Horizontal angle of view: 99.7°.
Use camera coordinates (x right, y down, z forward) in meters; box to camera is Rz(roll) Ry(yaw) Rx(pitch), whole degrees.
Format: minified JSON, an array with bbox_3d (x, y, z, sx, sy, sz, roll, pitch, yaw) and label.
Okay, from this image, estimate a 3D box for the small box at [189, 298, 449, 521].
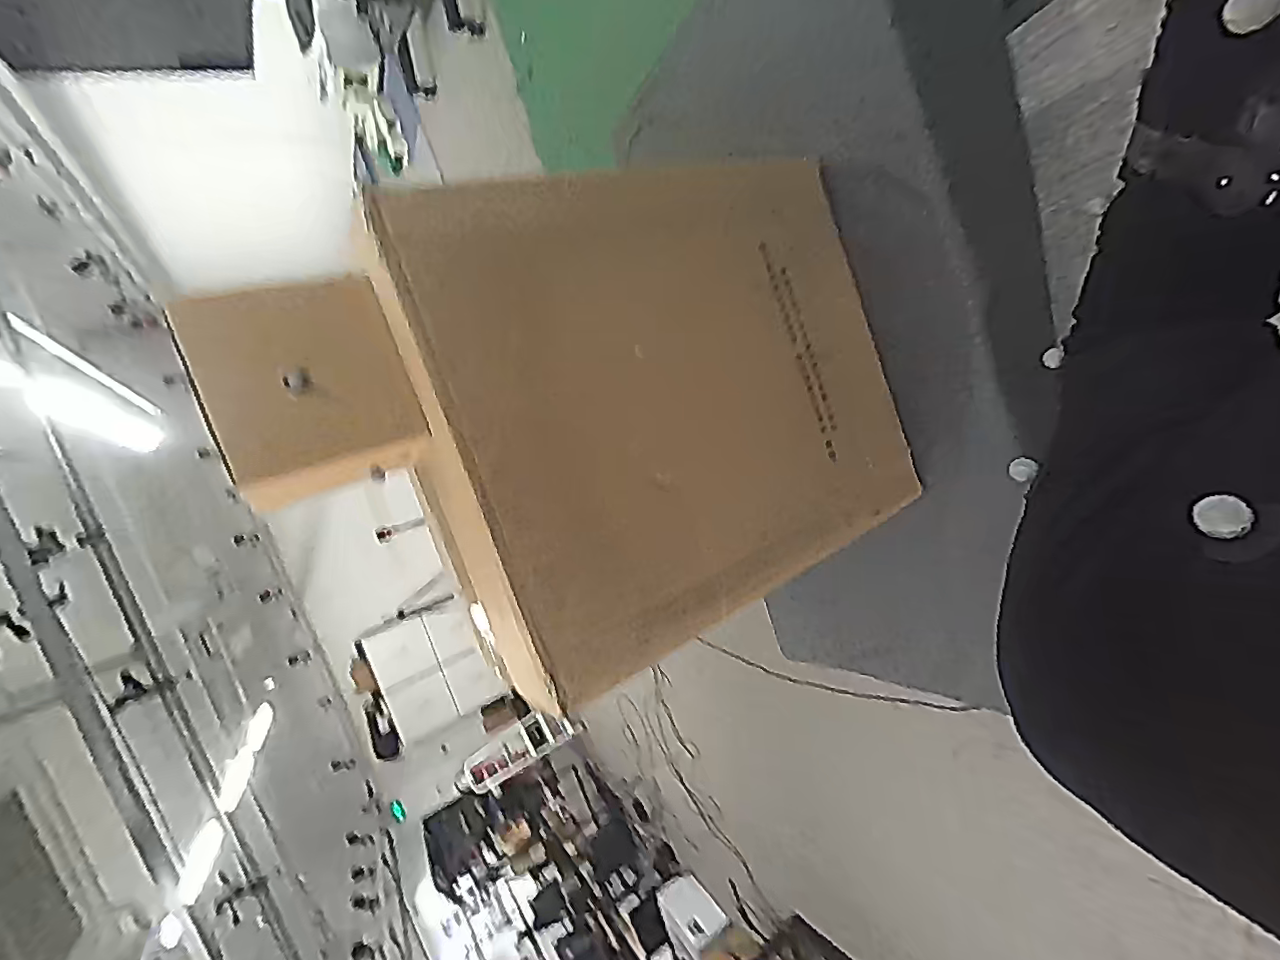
[{"bbox_3d":[-0.325,-0.075,0.569,0.168,0.176,0.179,-22,91,59],"label":"small box"}]
